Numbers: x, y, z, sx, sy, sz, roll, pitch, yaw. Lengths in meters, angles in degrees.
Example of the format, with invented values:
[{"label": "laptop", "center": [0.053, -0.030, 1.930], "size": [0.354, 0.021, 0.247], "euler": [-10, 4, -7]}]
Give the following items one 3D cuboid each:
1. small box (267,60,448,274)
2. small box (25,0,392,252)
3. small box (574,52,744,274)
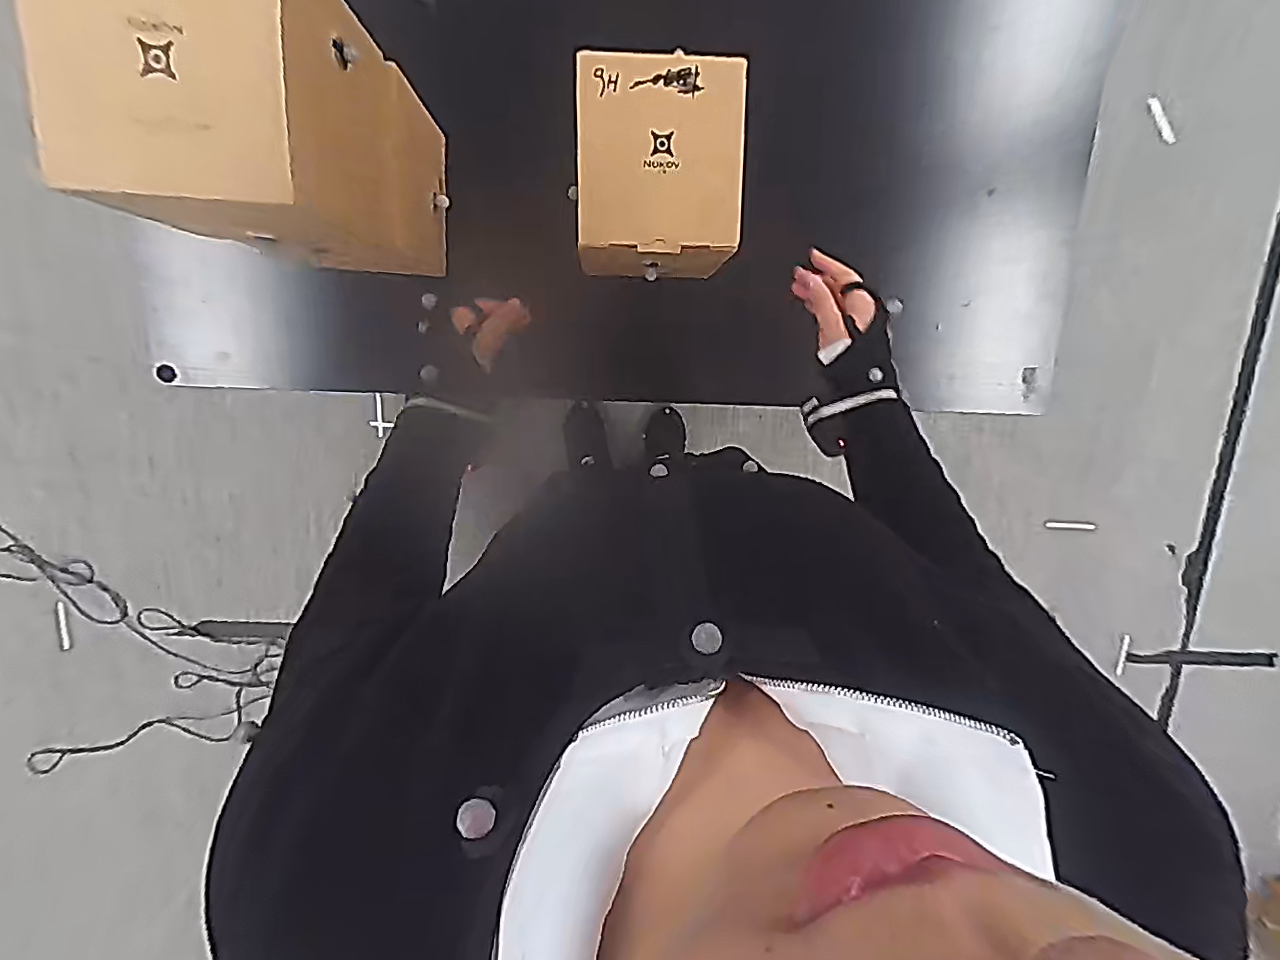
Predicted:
[{"label": "small box", "center": [-0.323, -0.330, 0.592], "size": [0.179, 0.176, 0.168], "euler": [3, 101, -5]}, {"label": "small box", "center": [-0.316, -0.298, 0.433], "size": [0.168, 0.176, 0.179], "euler": [2, 102, -3]}, {"label": "small box", "center": [0.014, -0.338, 0.613], "size": [0.168, 0.176, 0.179], "euler": [0, 101, -3]}]
